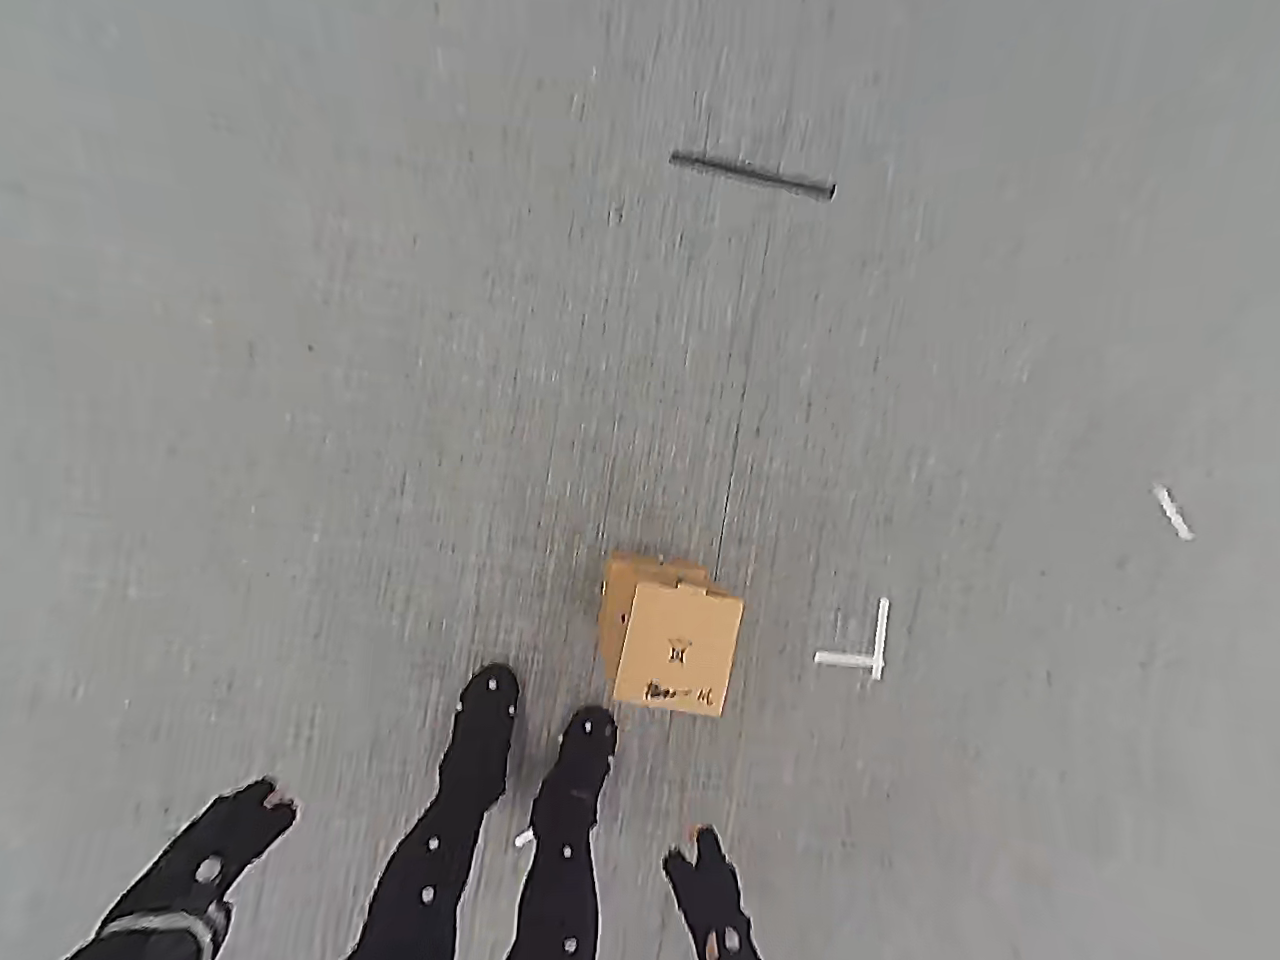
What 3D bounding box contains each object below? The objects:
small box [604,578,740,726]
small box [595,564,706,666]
[{"bbox_3d":[0.042,0.262,0.866,0.168,0.176,0.179,13,85,-7],"label":"small box"},{"bbox_3d":[0.013,0.254,1.028,0.179,0.176,0.168,7,86,-7],"label":"small box"}]
